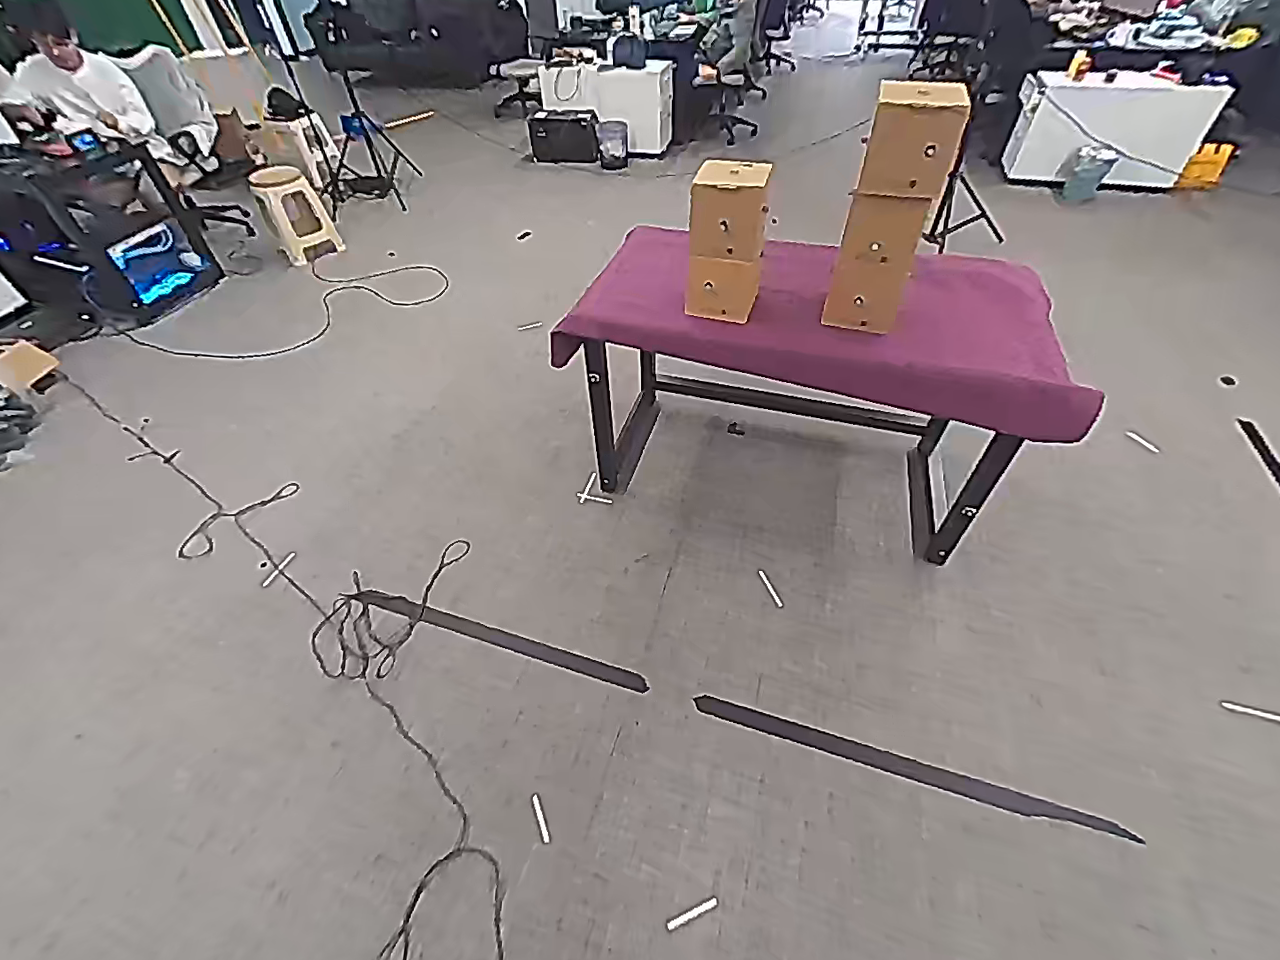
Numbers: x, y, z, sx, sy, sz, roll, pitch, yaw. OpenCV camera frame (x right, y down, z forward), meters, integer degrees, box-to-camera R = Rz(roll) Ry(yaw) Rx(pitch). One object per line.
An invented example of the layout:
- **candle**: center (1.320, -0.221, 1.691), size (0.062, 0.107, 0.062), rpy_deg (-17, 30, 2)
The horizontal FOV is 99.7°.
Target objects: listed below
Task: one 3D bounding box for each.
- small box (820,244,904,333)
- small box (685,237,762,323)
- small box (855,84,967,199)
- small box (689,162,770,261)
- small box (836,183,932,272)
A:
- **small box**: center (0.570, -0.500, 1.386), size (0.168, 0.176, 0.179), rpy_deg (15, 49, 15)
- **small box**: center (0.220, -0.538, 1.436), size (0.168, 0.176, 0.179), rpy_deg (13, 48, 14)
- **small box**: center (0.560, -0.709, 1.135), size (0.168, 0.176, 0.179), rpy_deg (12, 48, 12)
- **small box**: center (0.216, -0.656, 1.322), size (0.168, 0.176, 0.179), rpy_deg (11, 48, 12)
- **small box**: center (0.569, -0.614, 1.268), size (0.168, 0.176, 0.179), rpy_deg (14, 50, 15)
